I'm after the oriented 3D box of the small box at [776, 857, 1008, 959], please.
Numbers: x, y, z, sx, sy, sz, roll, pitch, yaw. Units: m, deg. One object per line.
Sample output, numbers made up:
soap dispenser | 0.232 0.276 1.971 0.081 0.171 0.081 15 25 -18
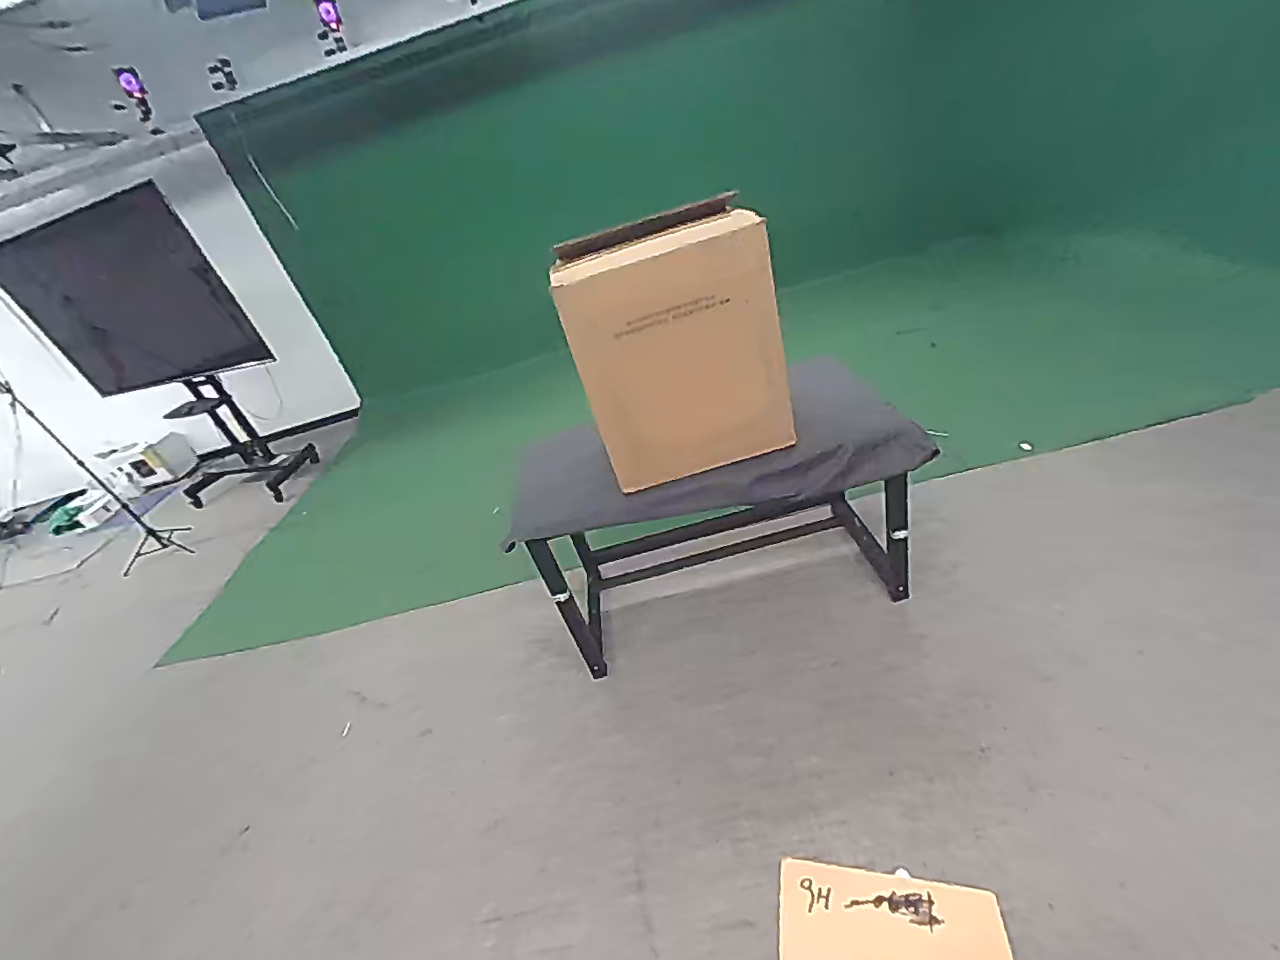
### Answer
small box | 0.194 0.442 0.420 0.168 0.176 0.179 -1 30 16
